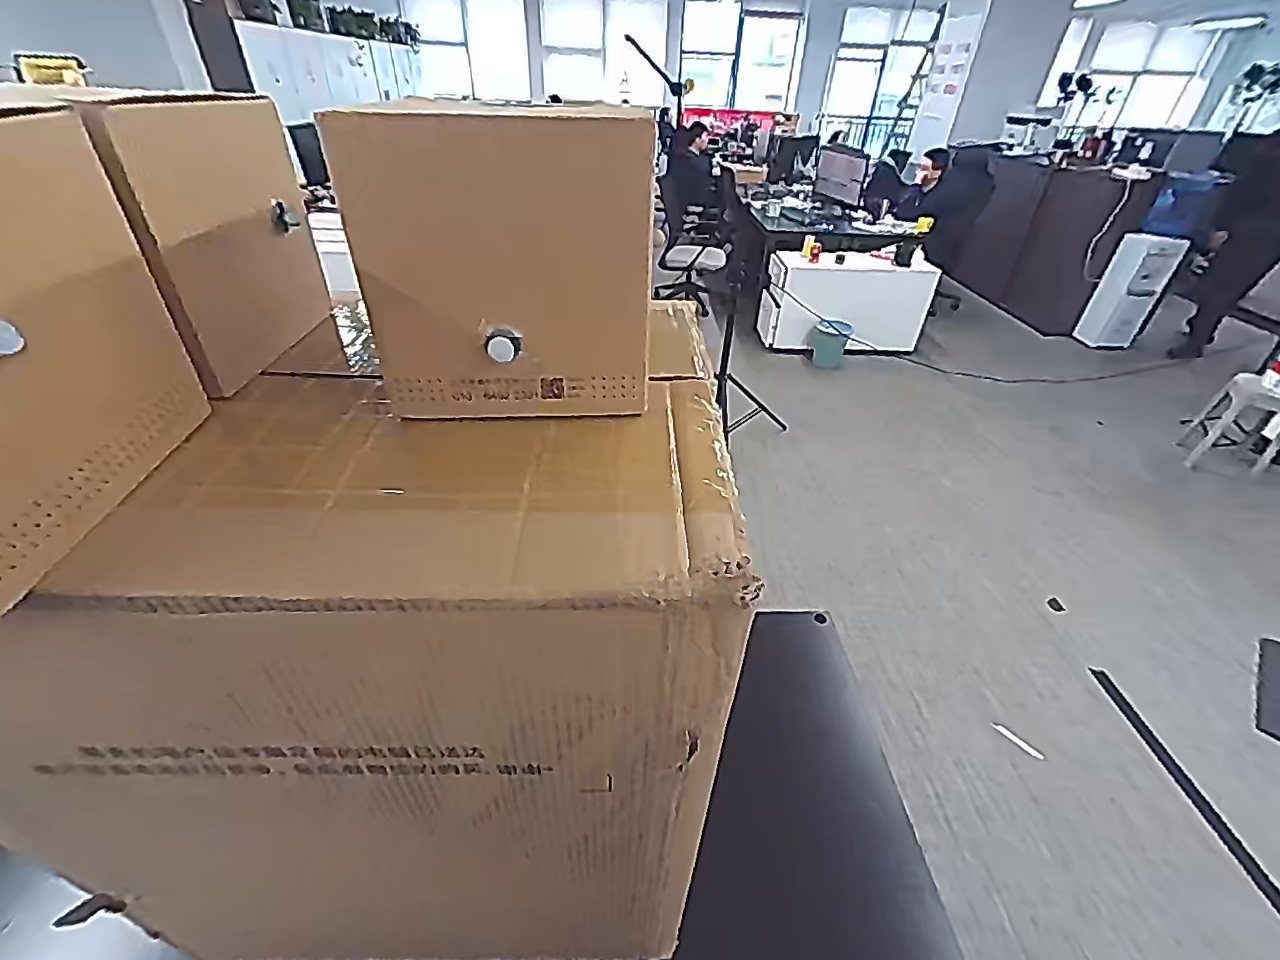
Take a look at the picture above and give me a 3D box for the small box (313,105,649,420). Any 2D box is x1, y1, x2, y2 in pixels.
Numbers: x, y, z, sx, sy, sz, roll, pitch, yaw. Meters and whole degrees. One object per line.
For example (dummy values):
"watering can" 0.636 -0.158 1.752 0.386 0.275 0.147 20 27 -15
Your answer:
"small box" -0.084 -0.155 0.376 0.168 0.176 0.179 -2 36 -3

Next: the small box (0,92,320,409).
"small box" -0.358 -0.165 0.381 0.168 0.176 0.179 0 36 -3
